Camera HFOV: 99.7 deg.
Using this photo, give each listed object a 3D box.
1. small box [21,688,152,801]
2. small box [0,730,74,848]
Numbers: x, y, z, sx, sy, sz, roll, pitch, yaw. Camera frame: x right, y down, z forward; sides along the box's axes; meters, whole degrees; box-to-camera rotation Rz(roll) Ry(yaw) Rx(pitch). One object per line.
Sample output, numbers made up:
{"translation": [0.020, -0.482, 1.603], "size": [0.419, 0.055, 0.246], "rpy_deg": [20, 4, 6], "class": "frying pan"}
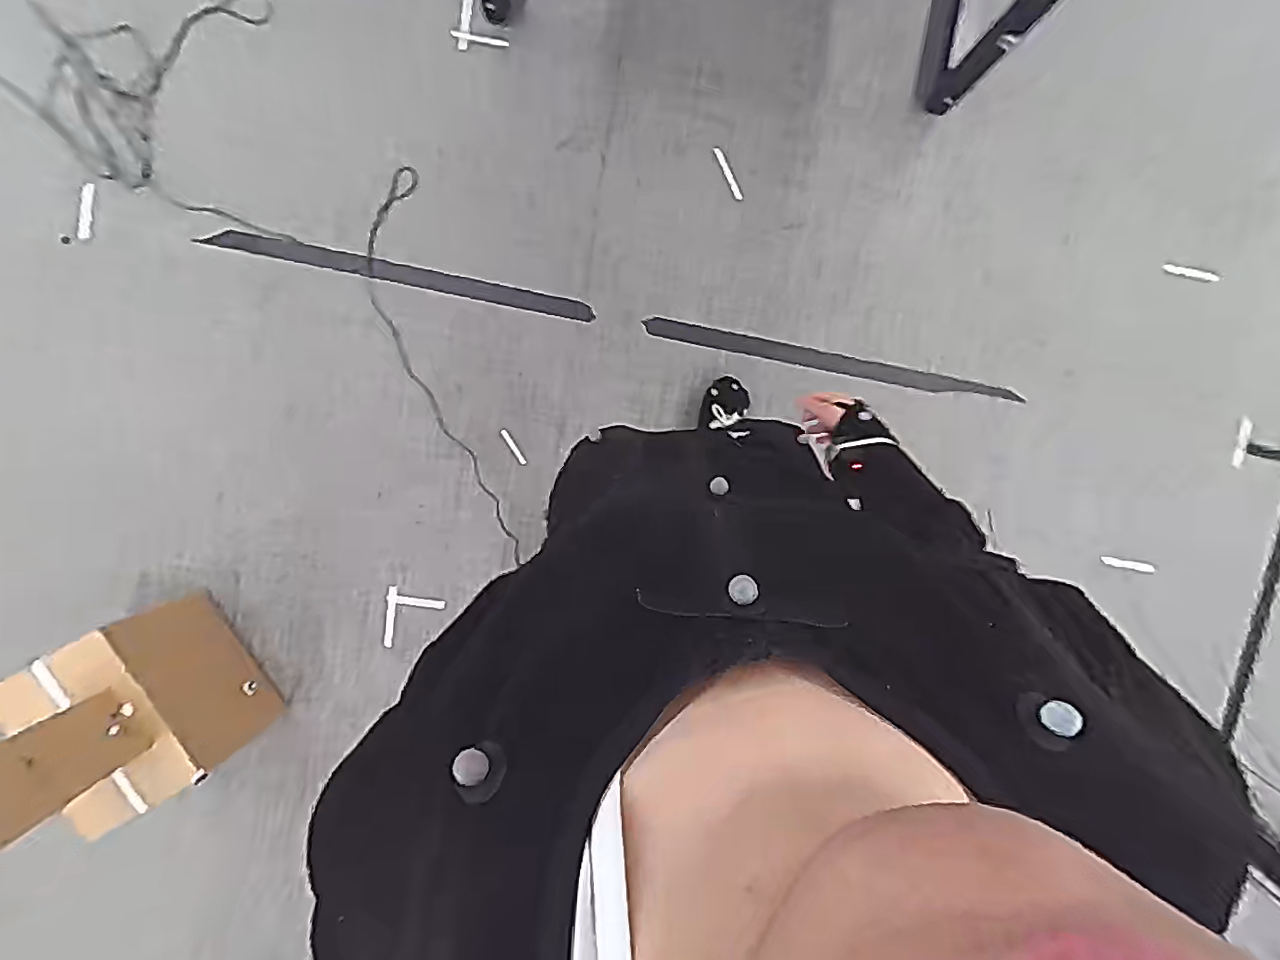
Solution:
{"translation": [-1.187, 0.569, 1.116], "size": [0.179, 0.176, 0.168], "rpy_deg": [-31, 95, 1], "class": "small box"}
{"translation": [-1.188, 0.586, 0.952], "size": [0.179, 0.176, 0.168], "rpy_deg": [-30, 95, 3], "class": "small box"}
